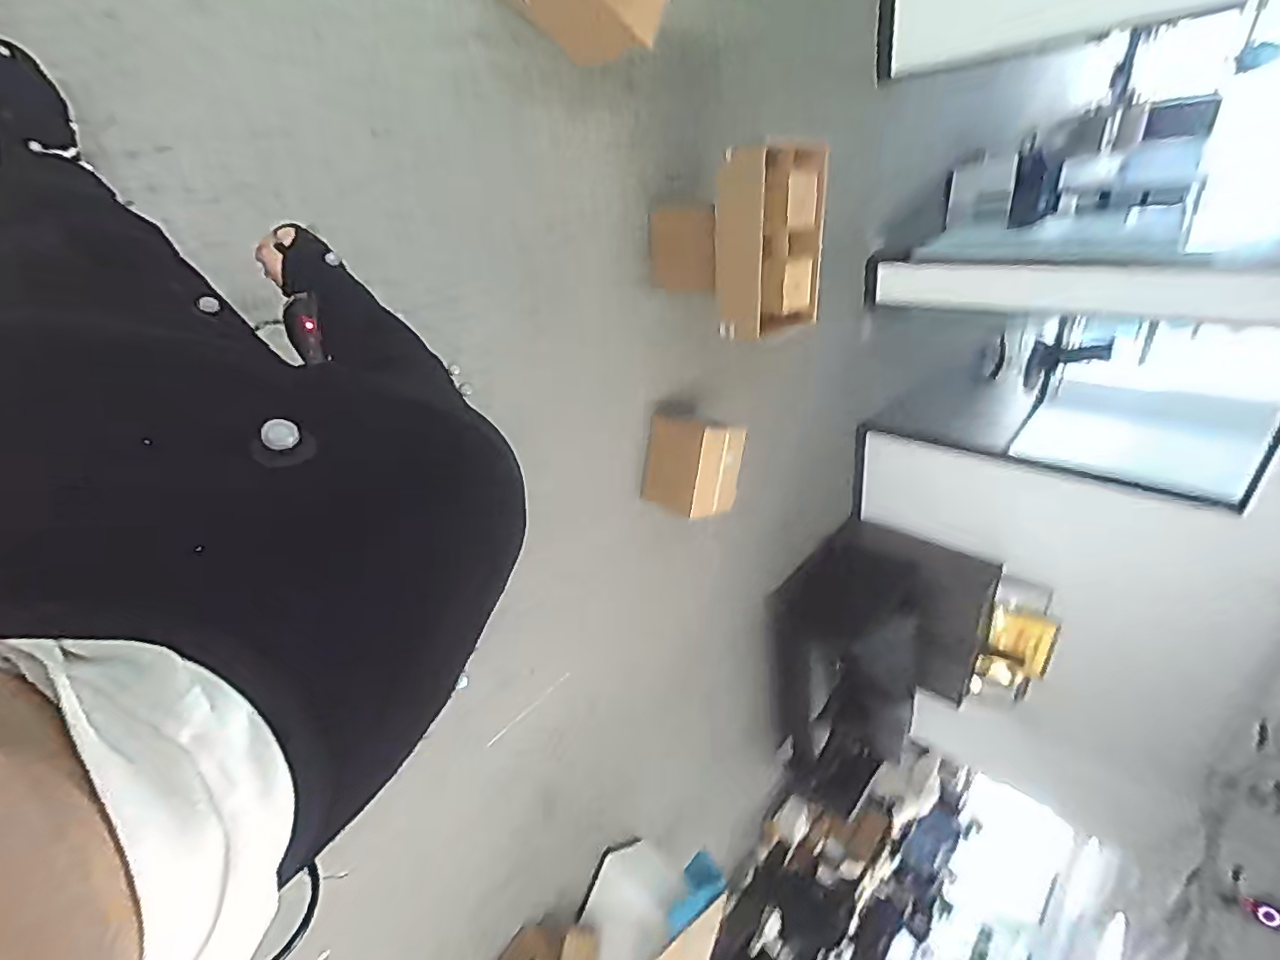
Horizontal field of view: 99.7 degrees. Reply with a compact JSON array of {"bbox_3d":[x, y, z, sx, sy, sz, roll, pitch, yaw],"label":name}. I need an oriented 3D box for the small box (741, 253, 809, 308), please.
[{"bbox_3d":[0.490,-0.729,1.963,0.179,0.176,0.168,-26,124,-37],"label":"small box"}]

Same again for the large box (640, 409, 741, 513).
[{"bbox_3d":[0.225,-0.102,2.489,0.320,0.320,0.408,-9,112,-46],"label":"large box"}]
